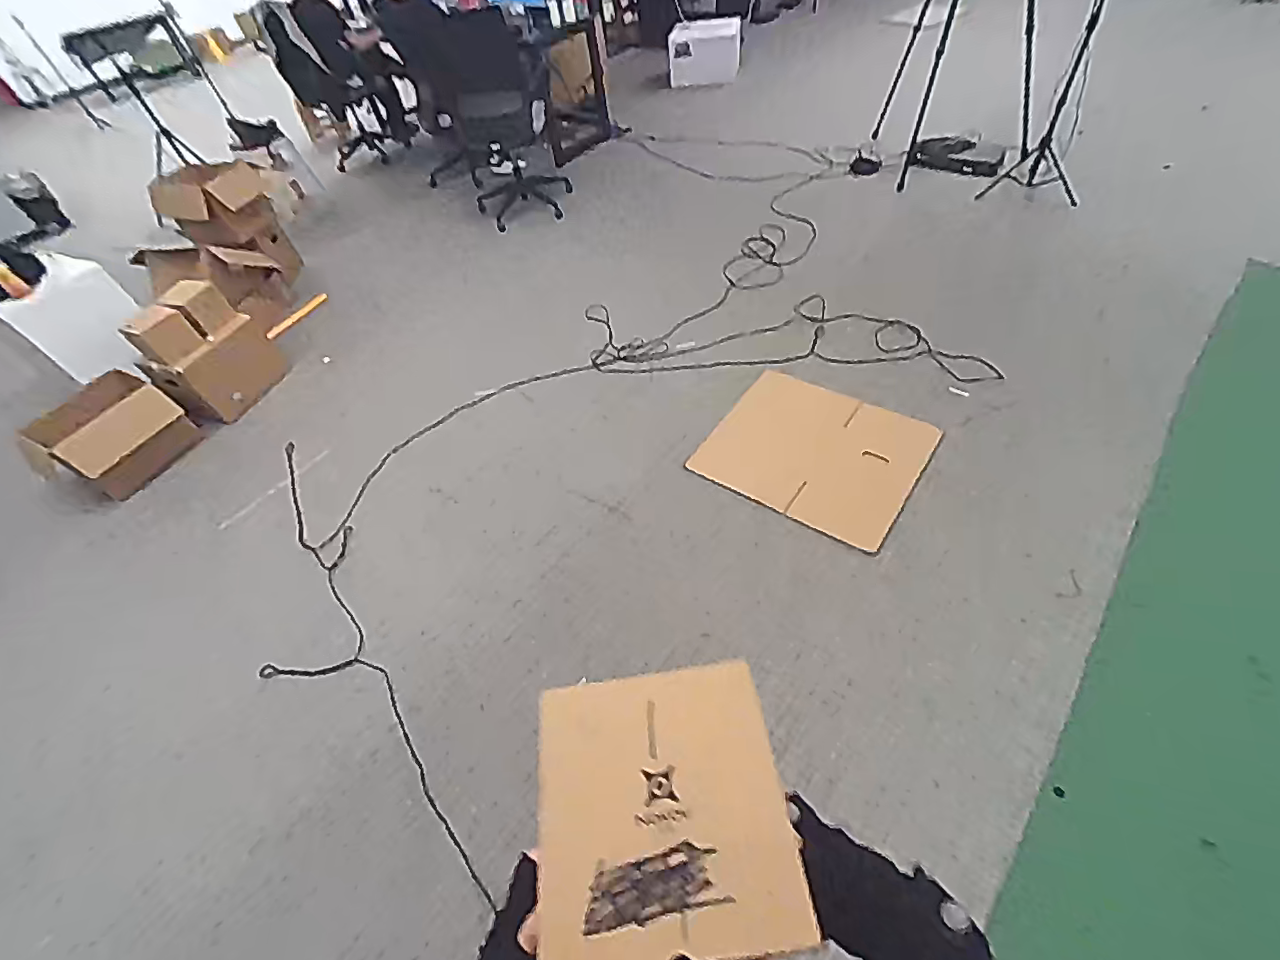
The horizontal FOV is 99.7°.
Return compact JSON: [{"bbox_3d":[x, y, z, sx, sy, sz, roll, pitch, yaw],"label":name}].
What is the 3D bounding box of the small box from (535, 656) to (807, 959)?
[{"bbox_3d":[0.017,0.266,0.428,0.168,0.176,0.179,-9,48,-1],"label":"small box"}]
